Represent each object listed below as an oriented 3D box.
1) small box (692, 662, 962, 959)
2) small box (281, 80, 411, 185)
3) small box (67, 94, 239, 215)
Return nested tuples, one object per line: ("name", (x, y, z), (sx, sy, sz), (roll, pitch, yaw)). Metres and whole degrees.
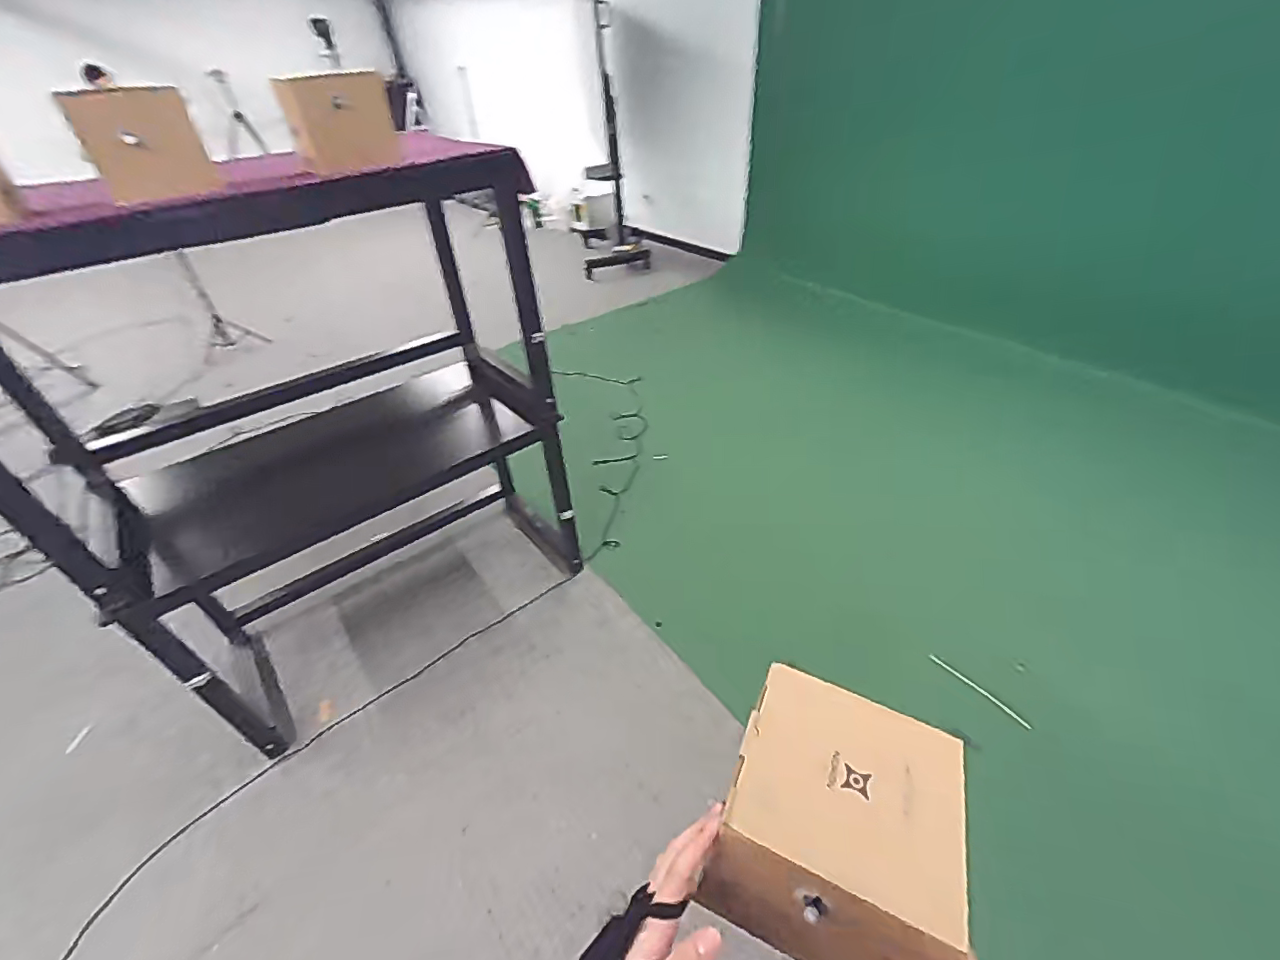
("small box", (0.159, 0.306, 0.483), (0.179, 0.176, 0.168), (19, 37, 18))
("small box", (-0.625, -0.745, 1.158), (0.179, 0.176, 0.168), (-29, 45, -27))
("small box", (-0.896, -0.609, 1.013), (0.179, 0.176, 0.168), (-27, 43, -25))
